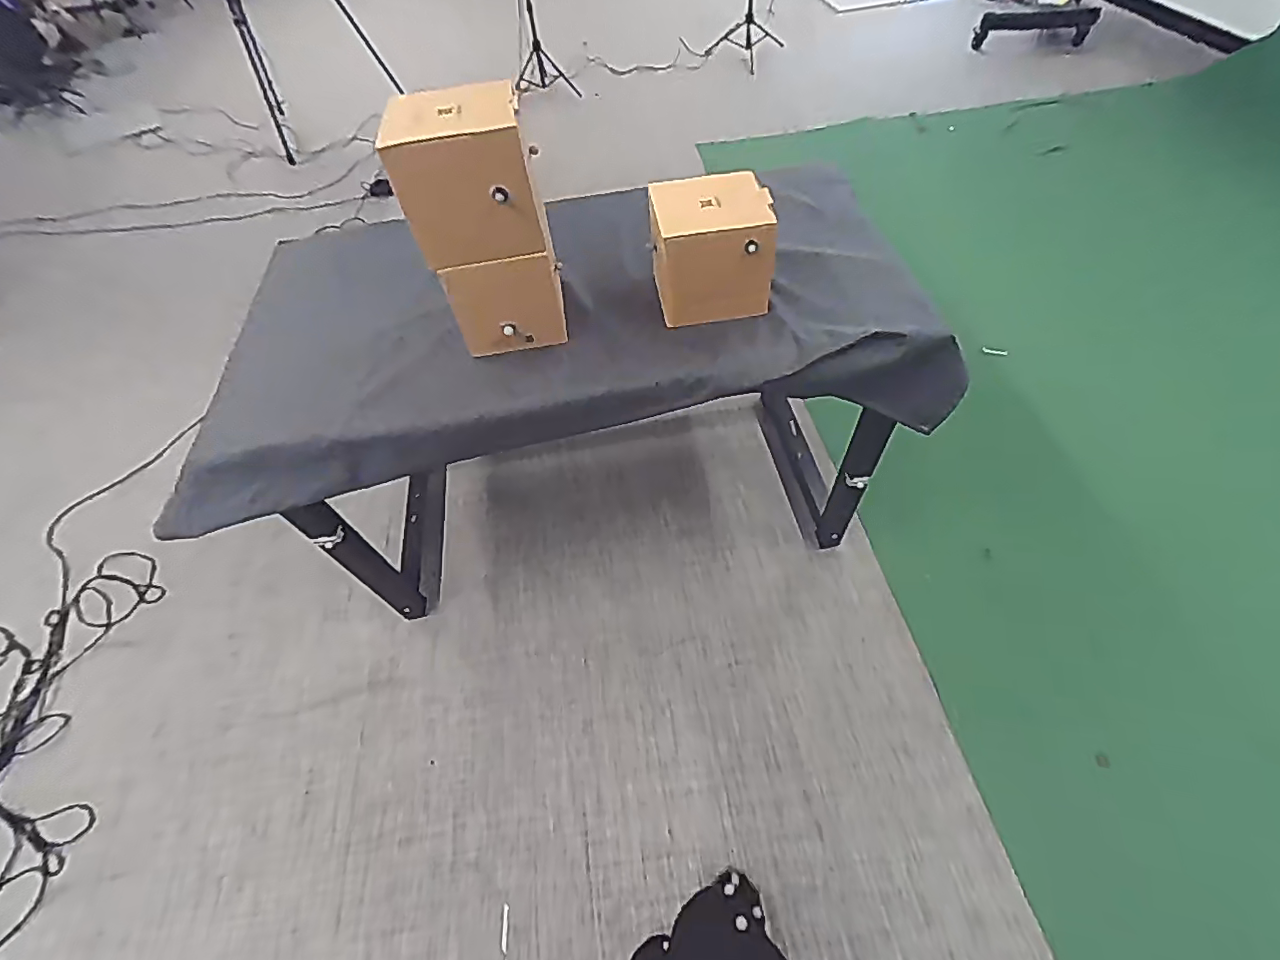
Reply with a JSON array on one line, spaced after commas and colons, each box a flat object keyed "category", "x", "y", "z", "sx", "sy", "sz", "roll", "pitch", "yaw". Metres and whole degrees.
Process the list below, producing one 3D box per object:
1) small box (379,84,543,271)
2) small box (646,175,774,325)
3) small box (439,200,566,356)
[{"category": "small box", "x": -0.240, "y": -0.426, "z": 0.772, "sx": 0.179, "sy": 0.176, "sz": 0.168, "roll": -12, "pitch": 54, "yaw": -2}, {"category": "small box", "x": 0.112, "y": -0.381, "z": 0.911, "sx": 0.179, "sy": 0.176, "sz": 0.168, "roll": -8, "pitch": 54, "yaw": -1}, {"category": "small box", "x": -0.222, "y": -0.335, "z": 0.905, "sx": 0.168, "sy": 0.176, "sz": 0.179, "roll": -10, "pitch": 55, "yaw": -2}]
